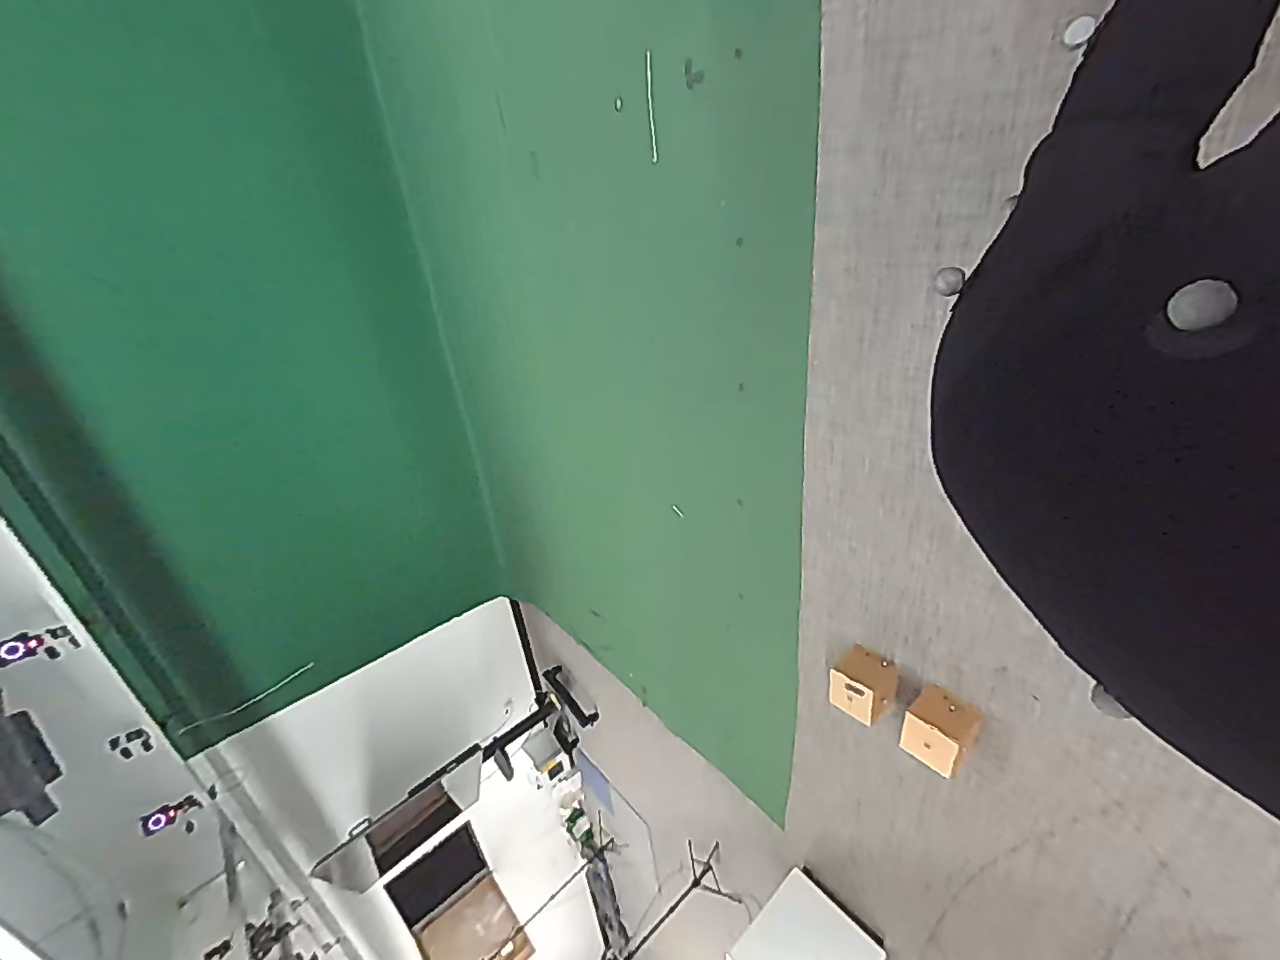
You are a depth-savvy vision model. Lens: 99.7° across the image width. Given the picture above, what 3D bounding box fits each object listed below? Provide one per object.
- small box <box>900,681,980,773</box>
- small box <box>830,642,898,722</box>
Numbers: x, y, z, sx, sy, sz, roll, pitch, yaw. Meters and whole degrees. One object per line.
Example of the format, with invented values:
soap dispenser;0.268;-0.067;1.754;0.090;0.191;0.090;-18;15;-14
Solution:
small box;0.989;0.808;1.781;0.168;0.176;0.179;26;131;45
small box;0.818;0.729;1.973;0.168;0.176;0.179;23;129;47
